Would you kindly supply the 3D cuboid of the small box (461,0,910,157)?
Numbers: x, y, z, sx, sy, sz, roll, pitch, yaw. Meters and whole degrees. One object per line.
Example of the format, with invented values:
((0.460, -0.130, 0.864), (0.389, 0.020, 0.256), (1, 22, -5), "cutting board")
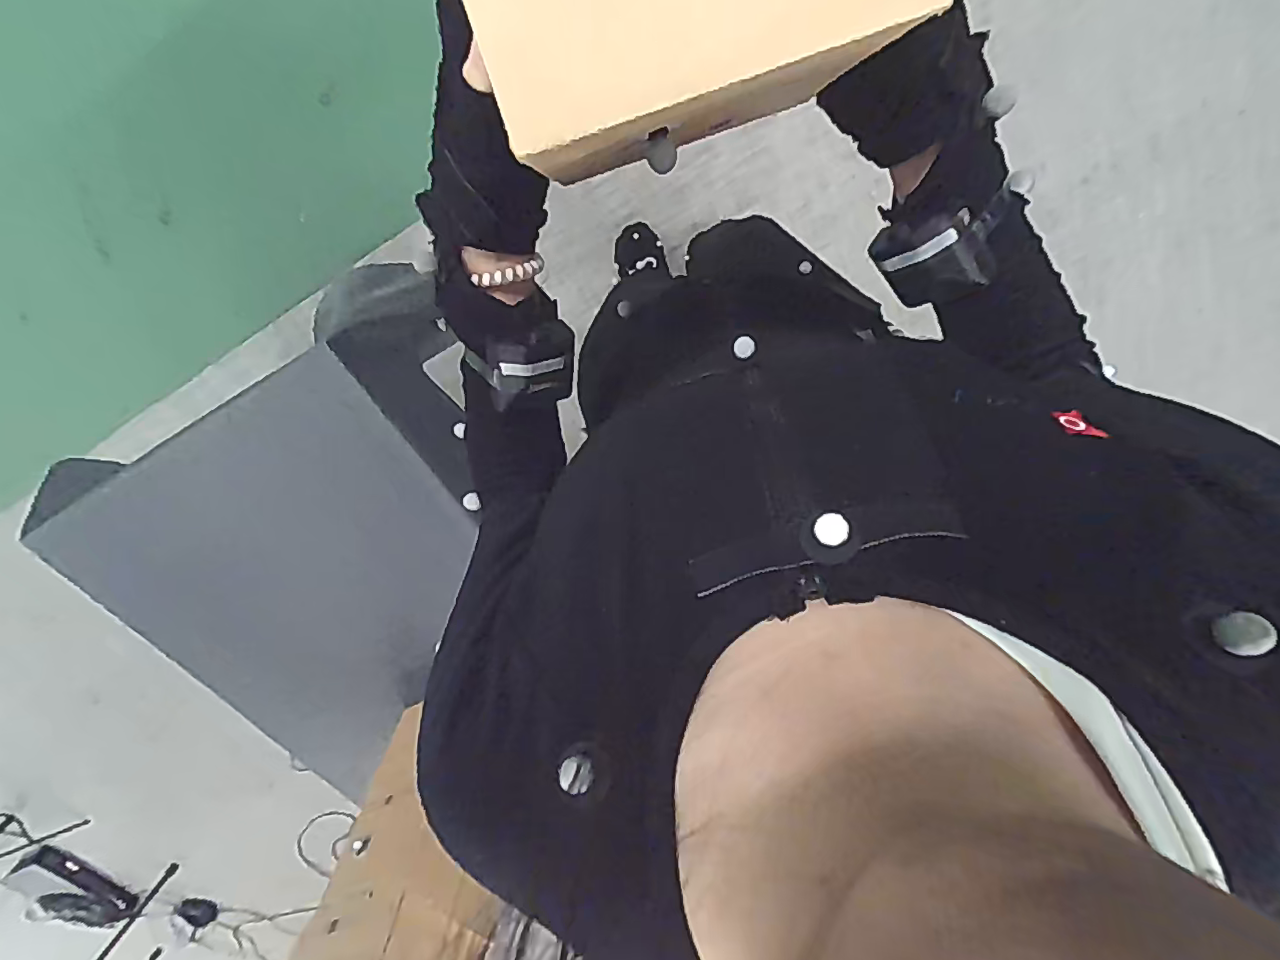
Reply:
((0.004, -0.260, 0.233), (0.168, 0.176, 0.179), (-16, 113, 6), "small box")

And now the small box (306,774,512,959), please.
((-0.307, 0.546, 0.761), (0.168, 0.176, 0.179), (-28, 113, 13), "small box")
